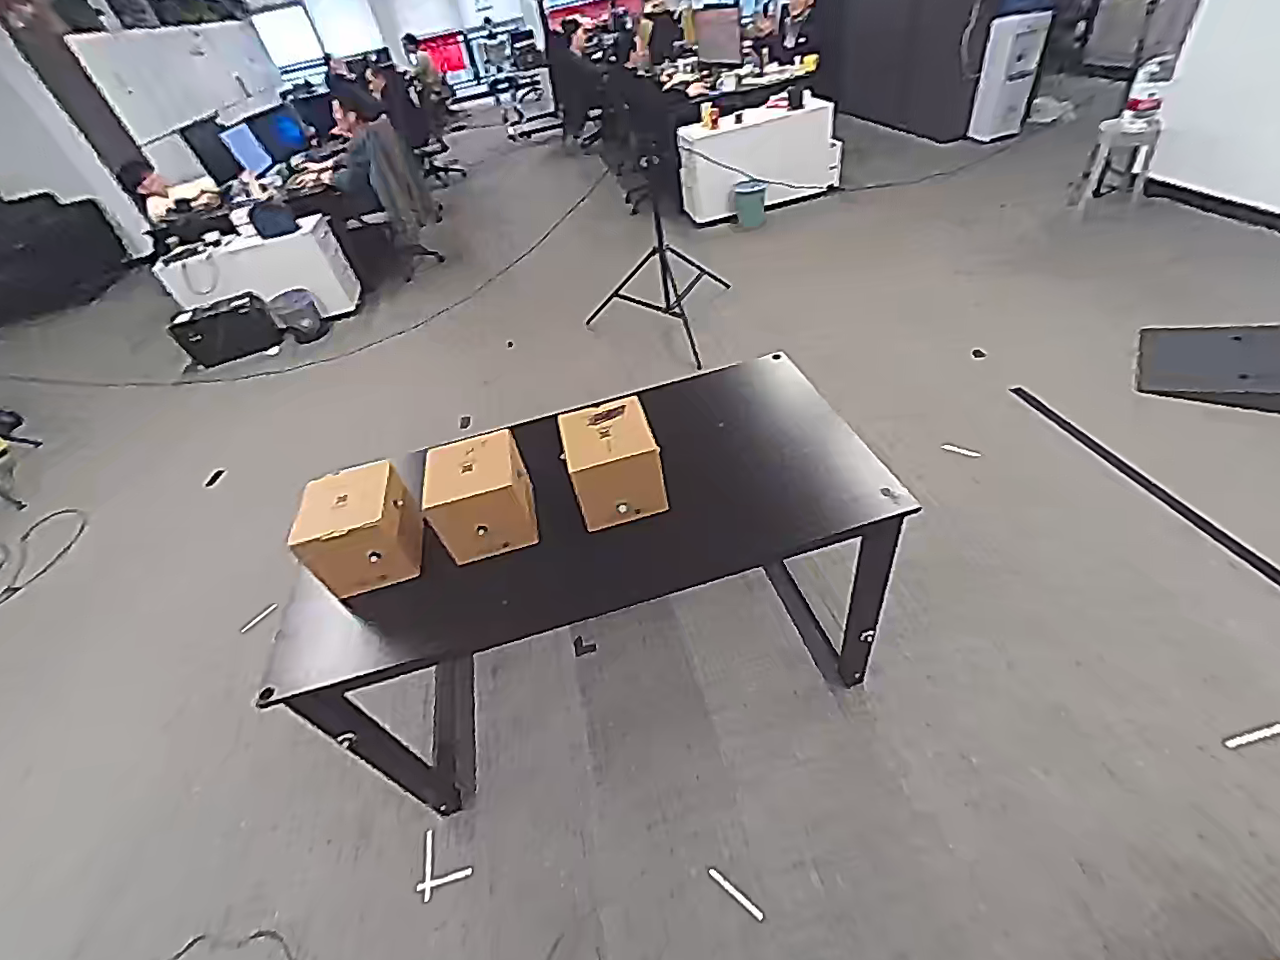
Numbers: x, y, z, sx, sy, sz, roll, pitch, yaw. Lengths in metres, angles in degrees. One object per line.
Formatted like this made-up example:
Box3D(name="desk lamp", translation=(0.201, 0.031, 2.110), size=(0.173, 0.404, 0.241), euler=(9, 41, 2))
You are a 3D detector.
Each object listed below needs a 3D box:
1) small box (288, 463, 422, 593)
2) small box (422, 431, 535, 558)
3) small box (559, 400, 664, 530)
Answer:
Box3D(name="small box", translation=(-0.543, 0.100, 1.060), size=(0.168, 0.176, 0.179), euler=(-15, 42, -5))
Box3D(name="small box", translation=(-0.313, 0.035, 1.072), size=(0.168, 0.176, 0.179), euler=(-15, 43, -4))
Box3D(name="small box", translation=(-0.056, -0.030, 1.081), size=(0.168, 0.176, 0.179), euler=(-16, 44, -3))
